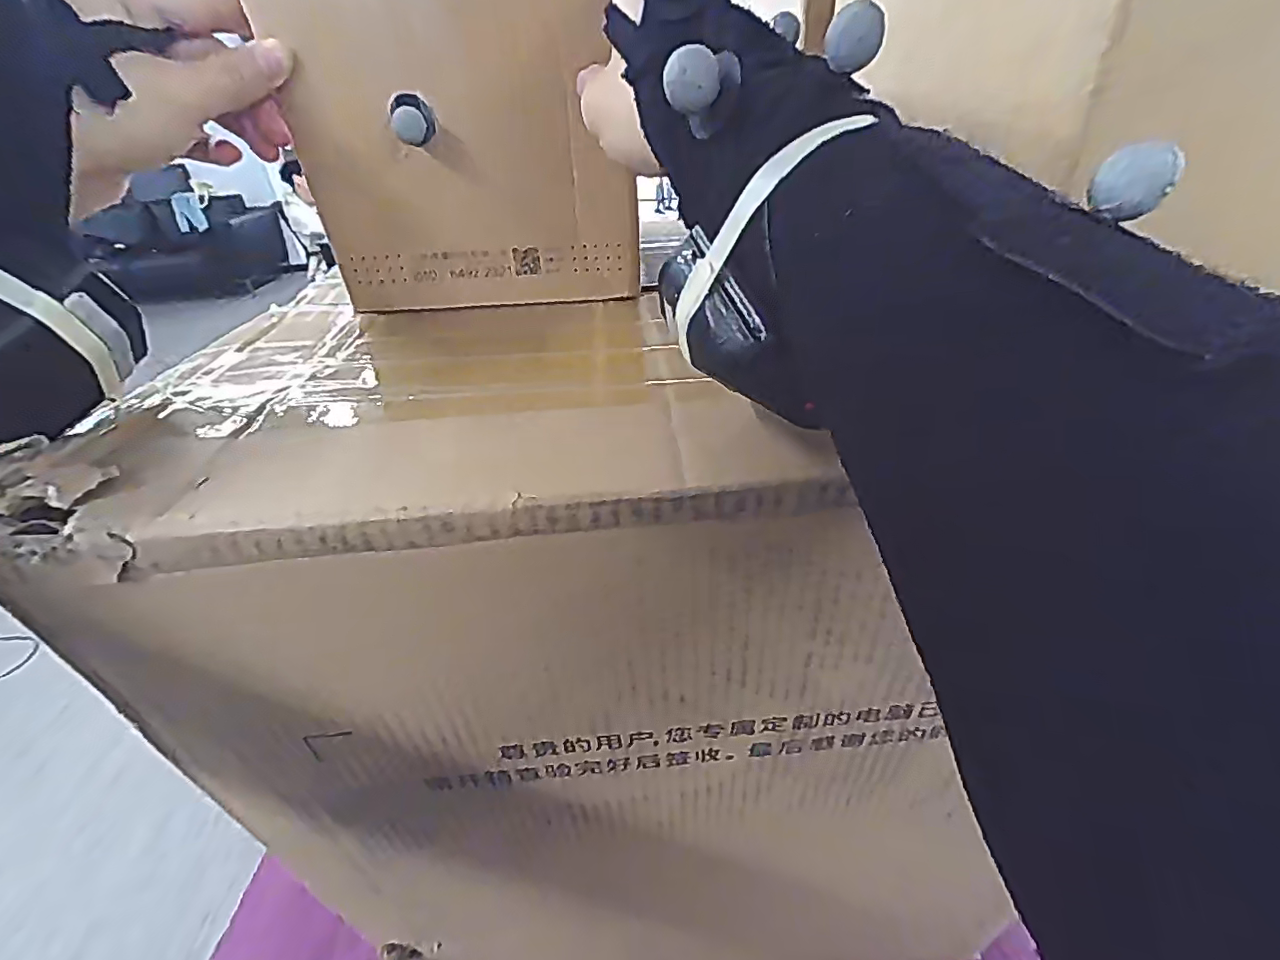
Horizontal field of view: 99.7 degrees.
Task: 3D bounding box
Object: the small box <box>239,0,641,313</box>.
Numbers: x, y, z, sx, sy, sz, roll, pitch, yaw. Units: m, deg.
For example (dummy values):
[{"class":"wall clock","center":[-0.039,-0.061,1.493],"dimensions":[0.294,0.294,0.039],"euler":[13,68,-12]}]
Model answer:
[{"class":"small box","center":[-0.089,-0.209,0.333],"dimensions":[0.168,0.176,0.179],"euler":[-5,36,-2]}]
